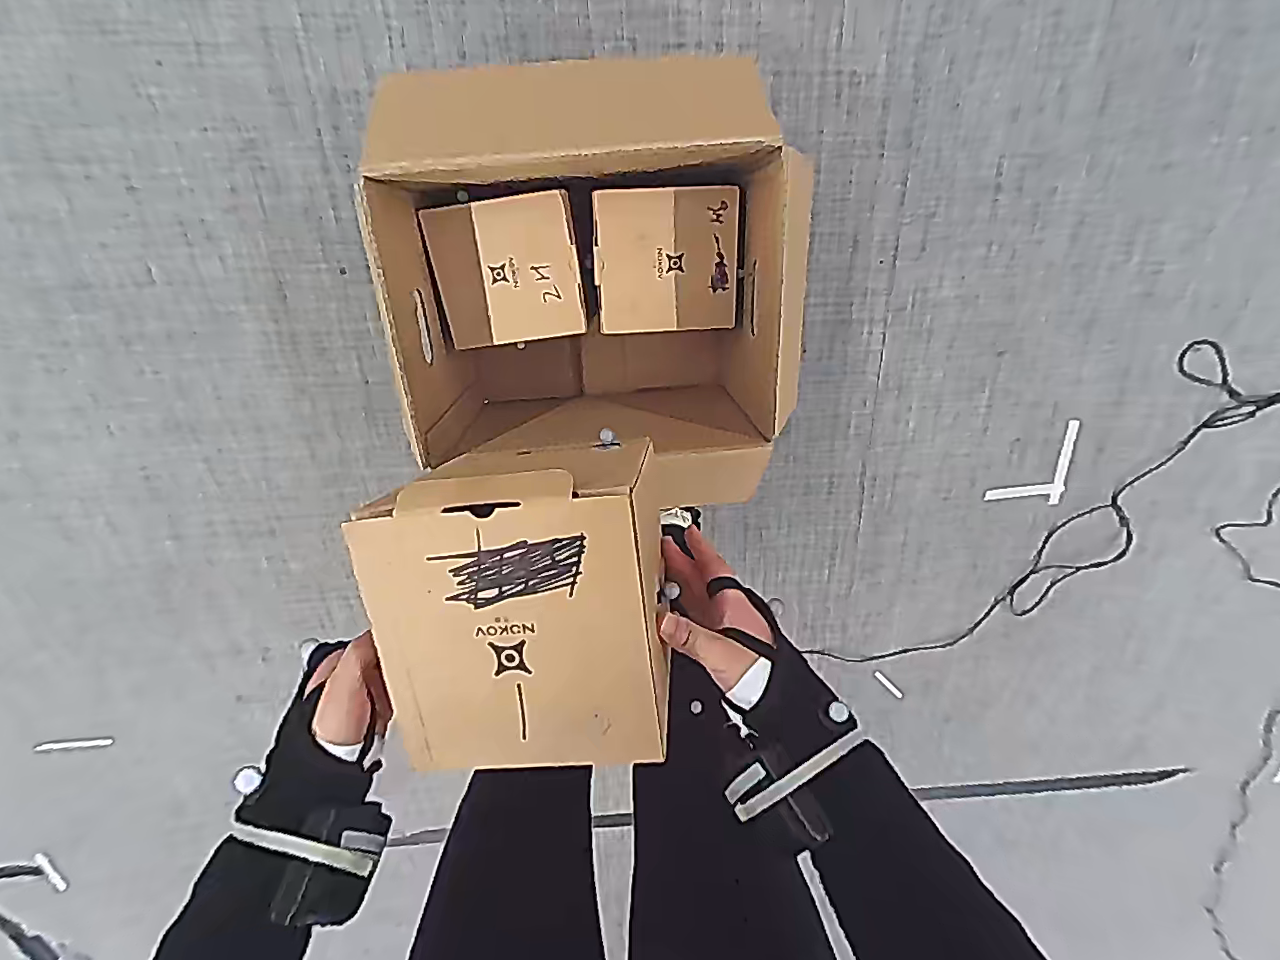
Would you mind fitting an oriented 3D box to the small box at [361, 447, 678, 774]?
[{"bbox_3d":[-0.062,0.075,0.391,0.168,0.176,0.179,-5,103,6],"label":"small box"}]
